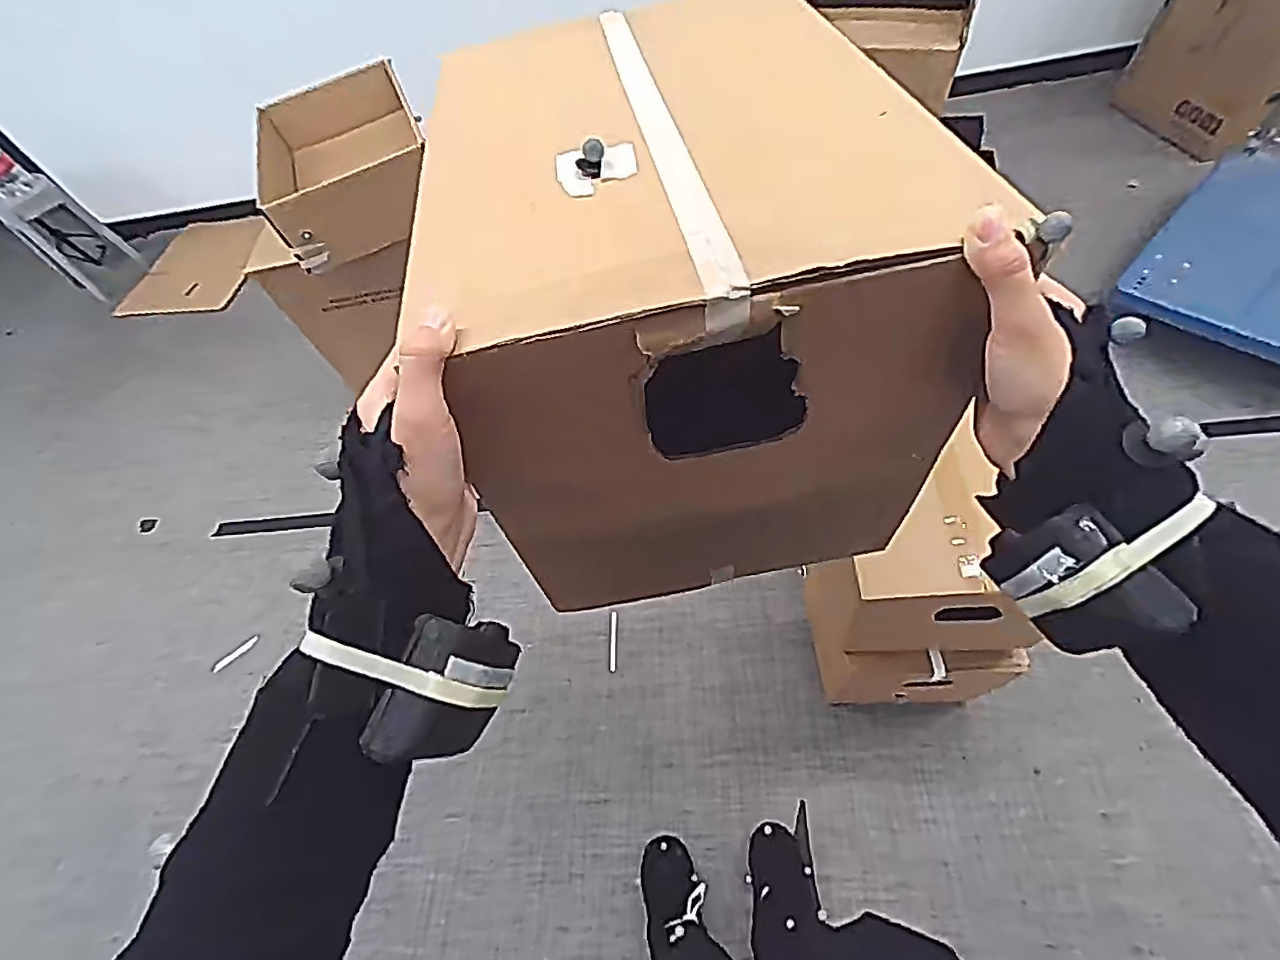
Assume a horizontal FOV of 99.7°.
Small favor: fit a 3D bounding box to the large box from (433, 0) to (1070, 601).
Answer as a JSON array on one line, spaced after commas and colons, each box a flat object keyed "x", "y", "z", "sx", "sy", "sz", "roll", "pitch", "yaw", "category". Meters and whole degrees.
[{"x": 0.033, "y": -0.158, "z": 0.483, "sx": 0.320, "sy": 0.320, "sz": 0.408, "roll": -13, "pitch": 56, "yaw": 1, "category": "large box"}]
